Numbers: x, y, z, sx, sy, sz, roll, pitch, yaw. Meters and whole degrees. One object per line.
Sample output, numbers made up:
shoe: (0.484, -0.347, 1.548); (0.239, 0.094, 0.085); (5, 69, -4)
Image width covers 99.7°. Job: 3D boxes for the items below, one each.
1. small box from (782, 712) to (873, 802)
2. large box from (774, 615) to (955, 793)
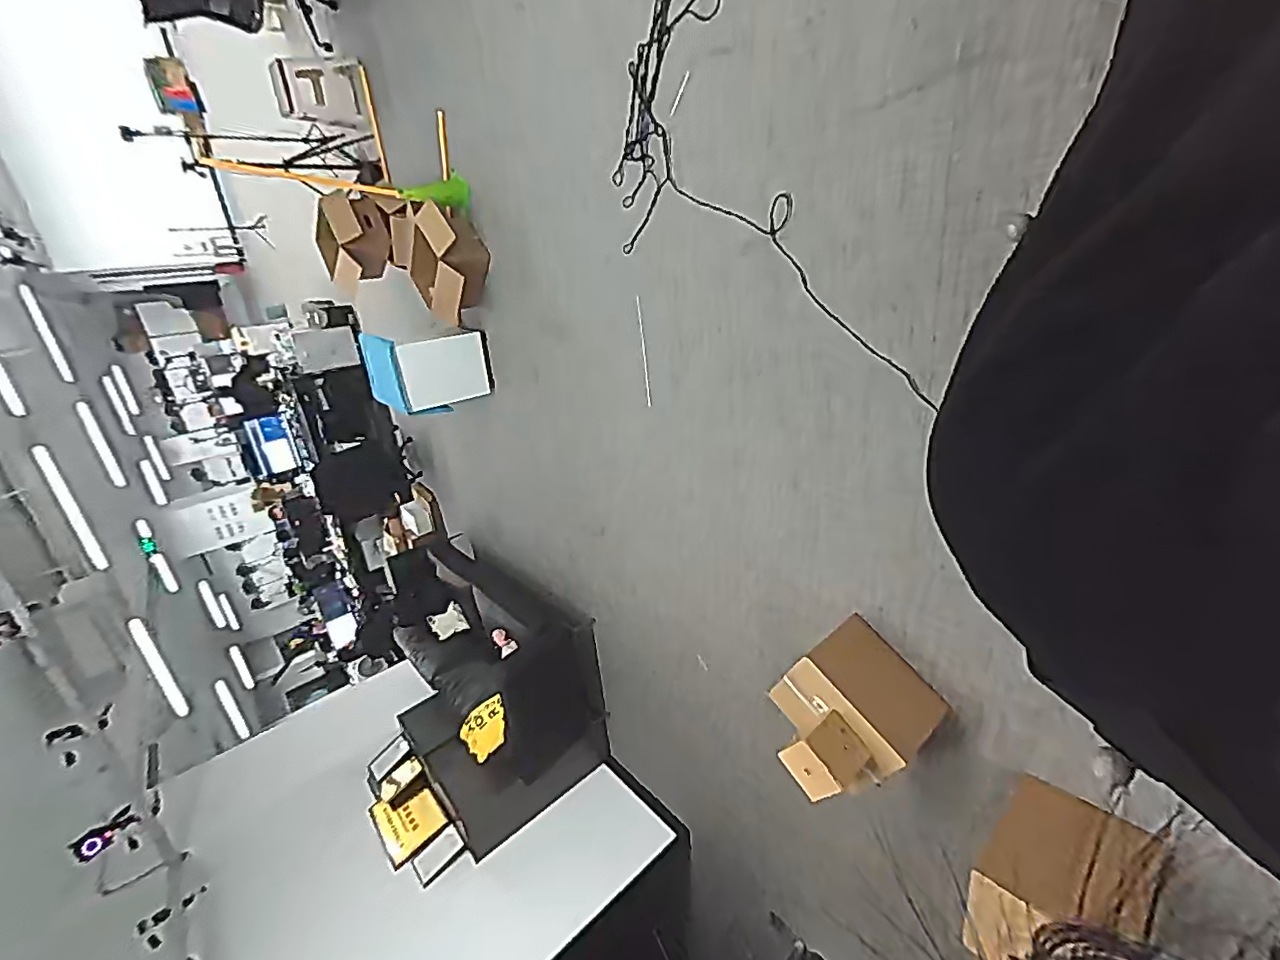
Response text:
small box: (0.587, 0.860, 1.685); (0.168, 0.176, 0.179); (50, 142, 23)
large box: (0.748, 0.749, 1.837); (0.408, 0.320, 0.320); (49, 141, 27)
